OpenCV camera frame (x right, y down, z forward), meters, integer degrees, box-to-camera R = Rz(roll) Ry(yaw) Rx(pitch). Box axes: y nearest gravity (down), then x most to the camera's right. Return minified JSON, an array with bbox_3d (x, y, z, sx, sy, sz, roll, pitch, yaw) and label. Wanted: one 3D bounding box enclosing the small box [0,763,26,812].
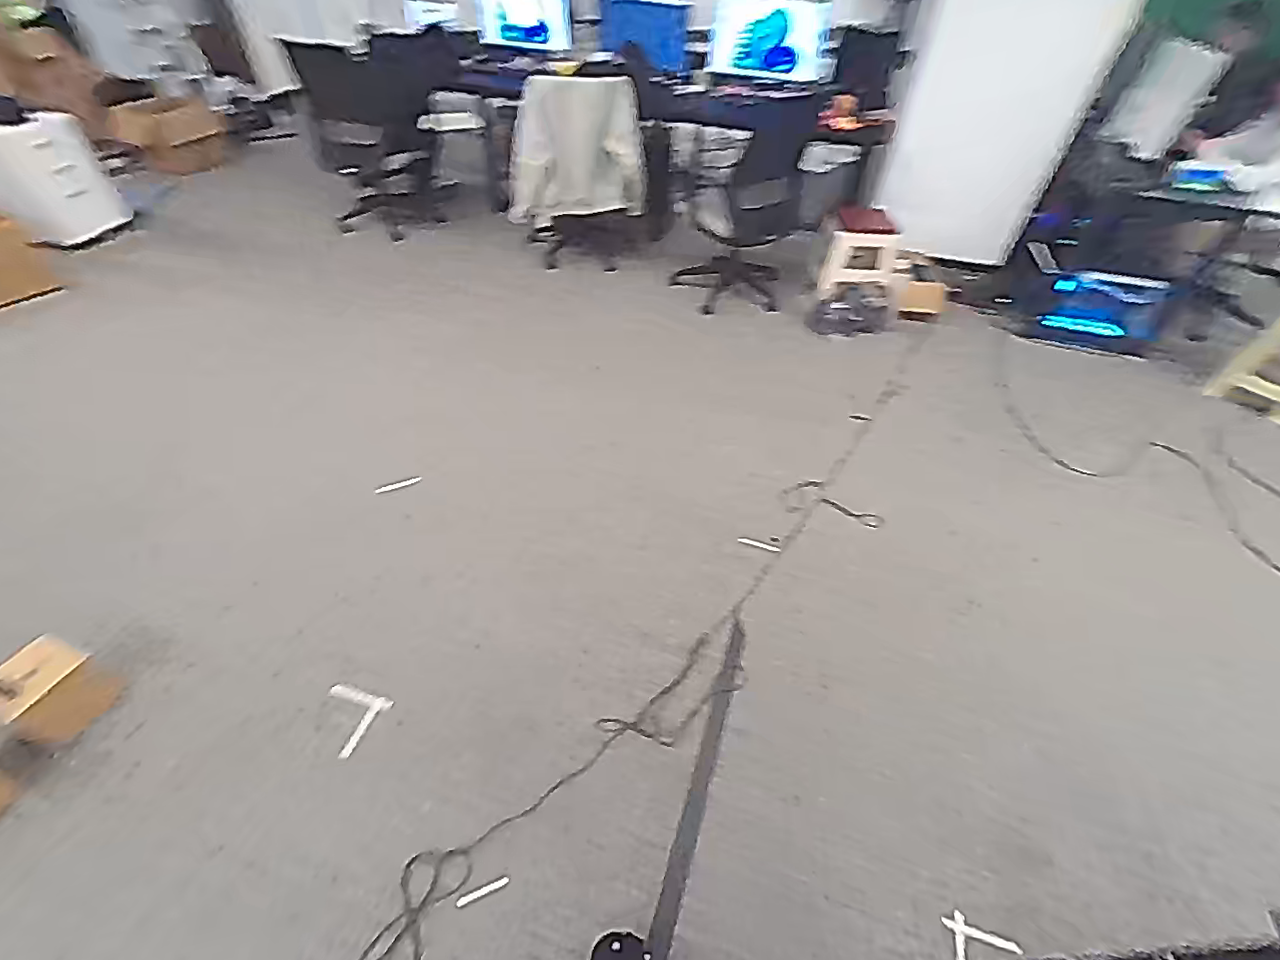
[{"bbox_3d":[-1.553,0.694,1.191,0.179,0.176,0.168,18,49,13],"label":"small box"}]
